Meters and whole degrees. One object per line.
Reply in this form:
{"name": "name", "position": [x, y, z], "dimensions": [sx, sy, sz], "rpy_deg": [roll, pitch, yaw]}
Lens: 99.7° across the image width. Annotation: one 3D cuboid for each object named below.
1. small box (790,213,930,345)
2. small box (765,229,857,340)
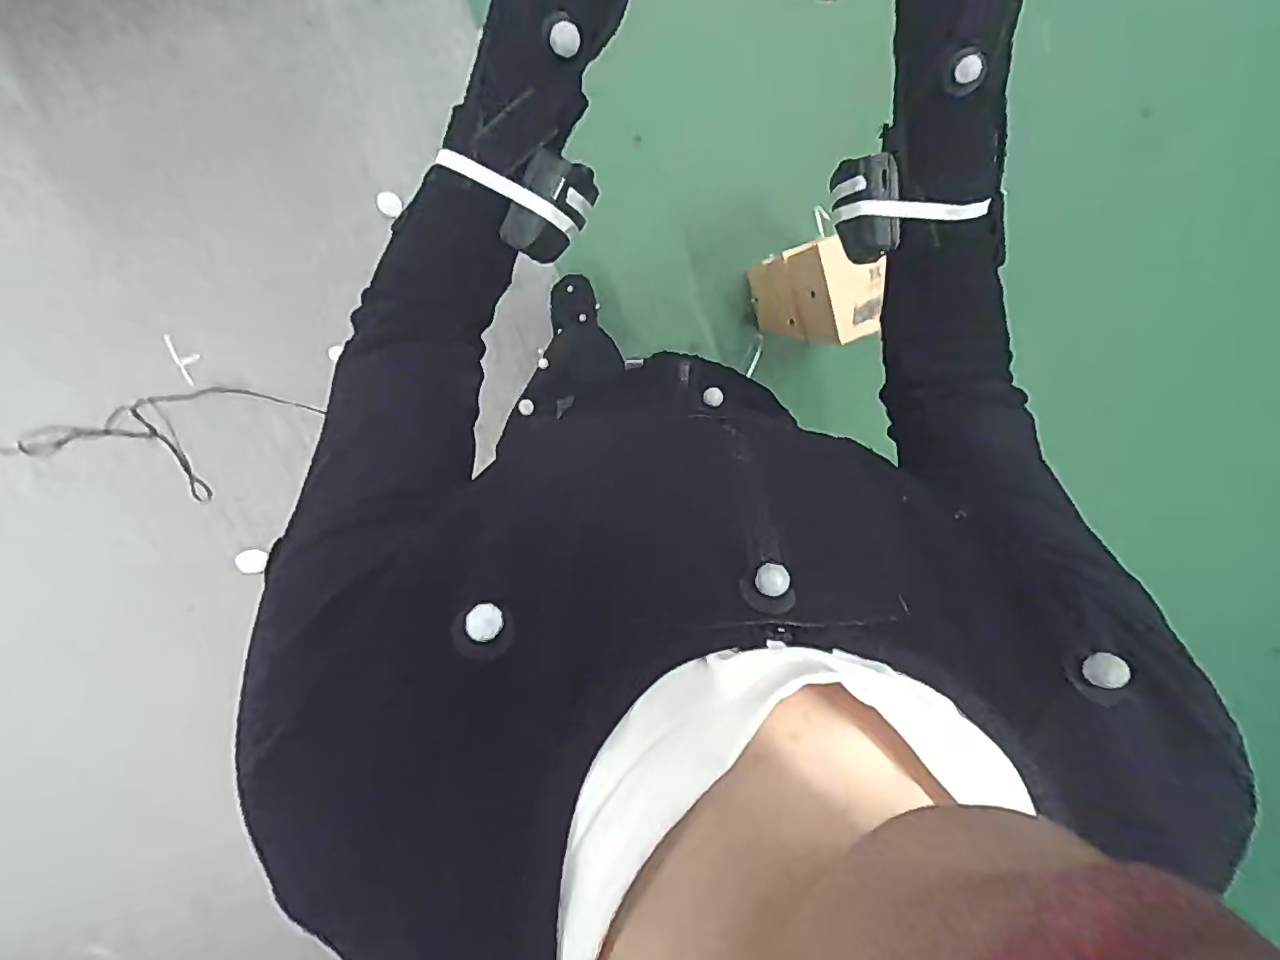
{"name": "small box", "position": [0.393, -0.358, 0.987], "dimensions": [0.168, 0.176, 0.179], "rpy_deg": [-19, 104, 3]}
{"name": "small box", "position": [0.377, -0.405, 1.145], "dimensions": [0.168, 0.176, 0.179], "rpy_deg": [-17, 105, 3]}
